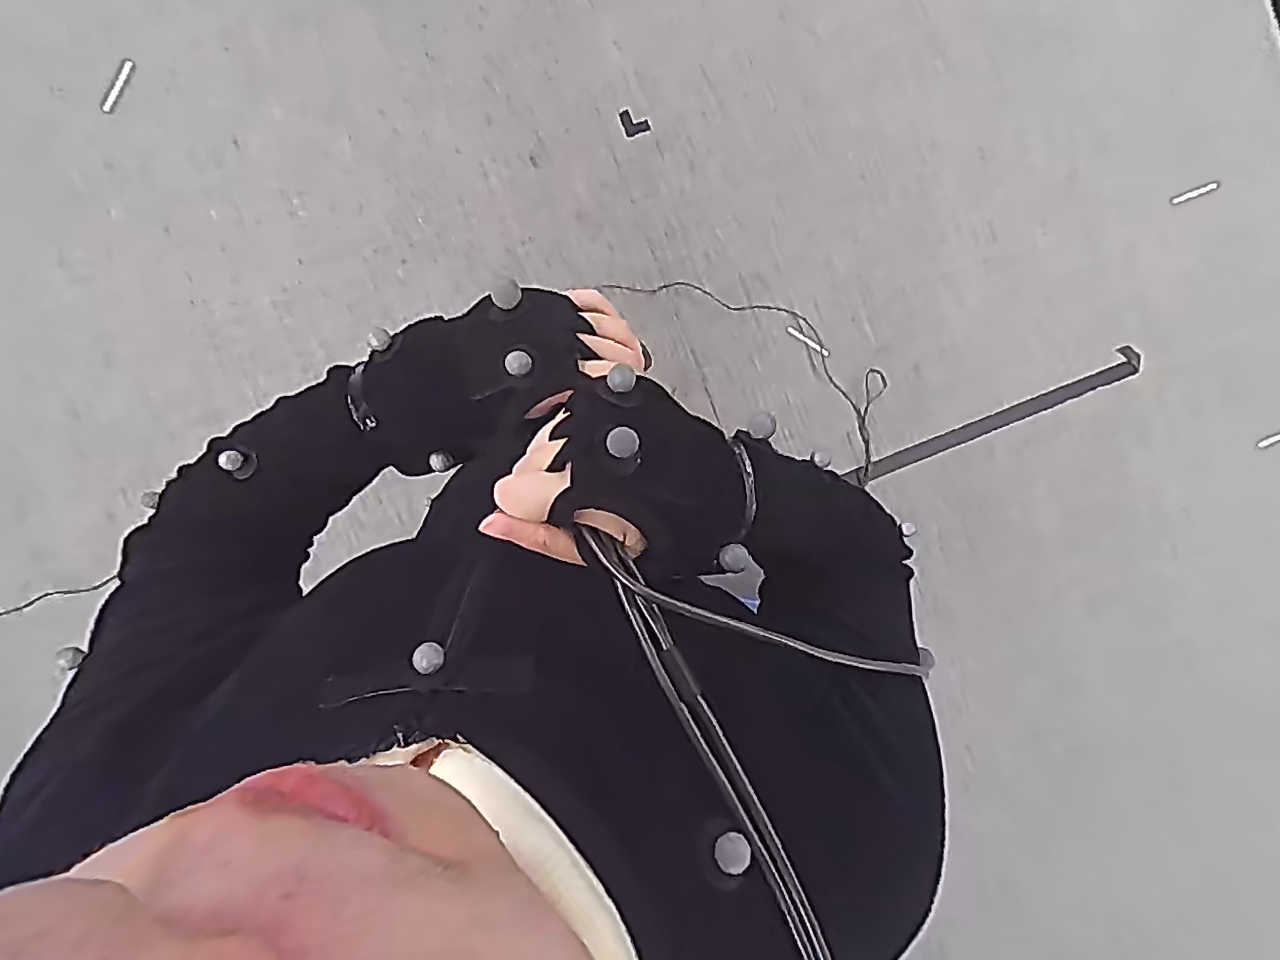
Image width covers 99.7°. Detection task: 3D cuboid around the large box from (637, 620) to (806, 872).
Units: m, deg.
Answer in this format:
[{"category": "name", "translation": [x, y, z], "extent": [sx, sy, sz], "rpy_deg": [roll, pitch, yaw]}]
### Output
[{"category": "large box", "translation": [0.167, 0.568, 1.226], "extent": [0.320, 0.320, 0.408], "rpy_deg": [-2, 95, -5]}]
